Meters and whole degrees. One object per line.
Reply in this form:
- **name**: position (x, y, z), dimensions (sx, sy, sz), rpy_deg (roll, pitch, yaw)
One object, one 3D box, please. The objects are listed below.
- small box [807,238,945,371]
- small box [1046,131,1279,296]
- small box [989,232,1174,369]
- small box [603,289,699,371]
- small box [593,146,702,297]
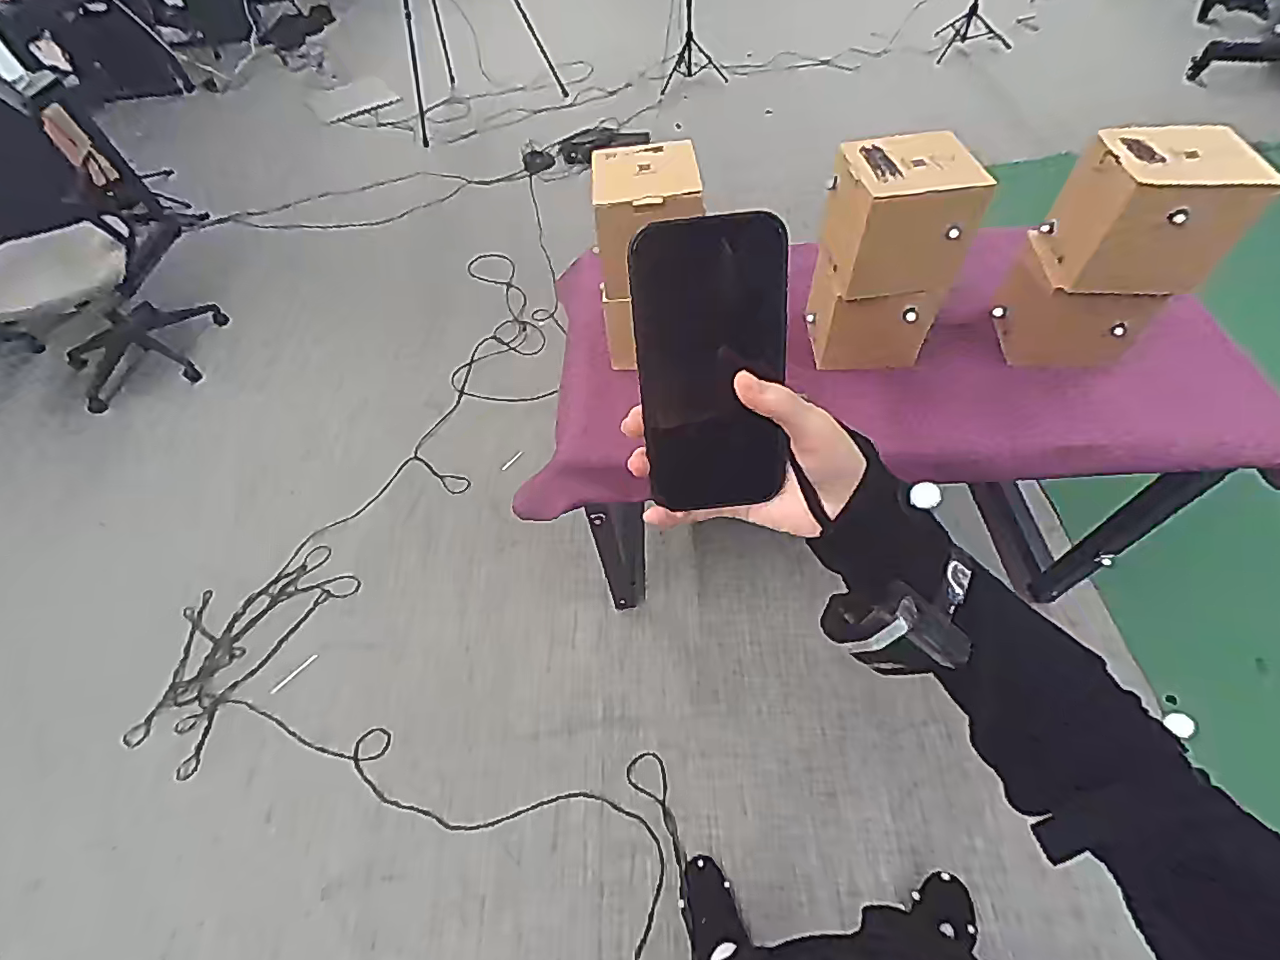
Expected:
- **small box**: position (0.417, -0.315, 0.988), dimensions (0.179, 0.176, 0.168), rpy_deg (-1, 55, 5)
- **small box**: position (0.749, -0.392, 0.807), dimensions (0.179, 0.176, 0.168), rpy_deg (4, 55, 8)
- **small box**: position (0.755, -0.311, 0.949), dimensions (0.179, 0.176, 0.168), rpy_deg (4, 55, 9)
- **small box**: position (0.030, -0.324, 1.037), dimensions (0.168, 0.176, 0.179), rpy_deg (-1, 55, 6)
- **small box**: position (0.015, -0.425, 0.908), dimensions (0.168, 0.176, 0.179), rpy_deg (-5, 55, 2)
